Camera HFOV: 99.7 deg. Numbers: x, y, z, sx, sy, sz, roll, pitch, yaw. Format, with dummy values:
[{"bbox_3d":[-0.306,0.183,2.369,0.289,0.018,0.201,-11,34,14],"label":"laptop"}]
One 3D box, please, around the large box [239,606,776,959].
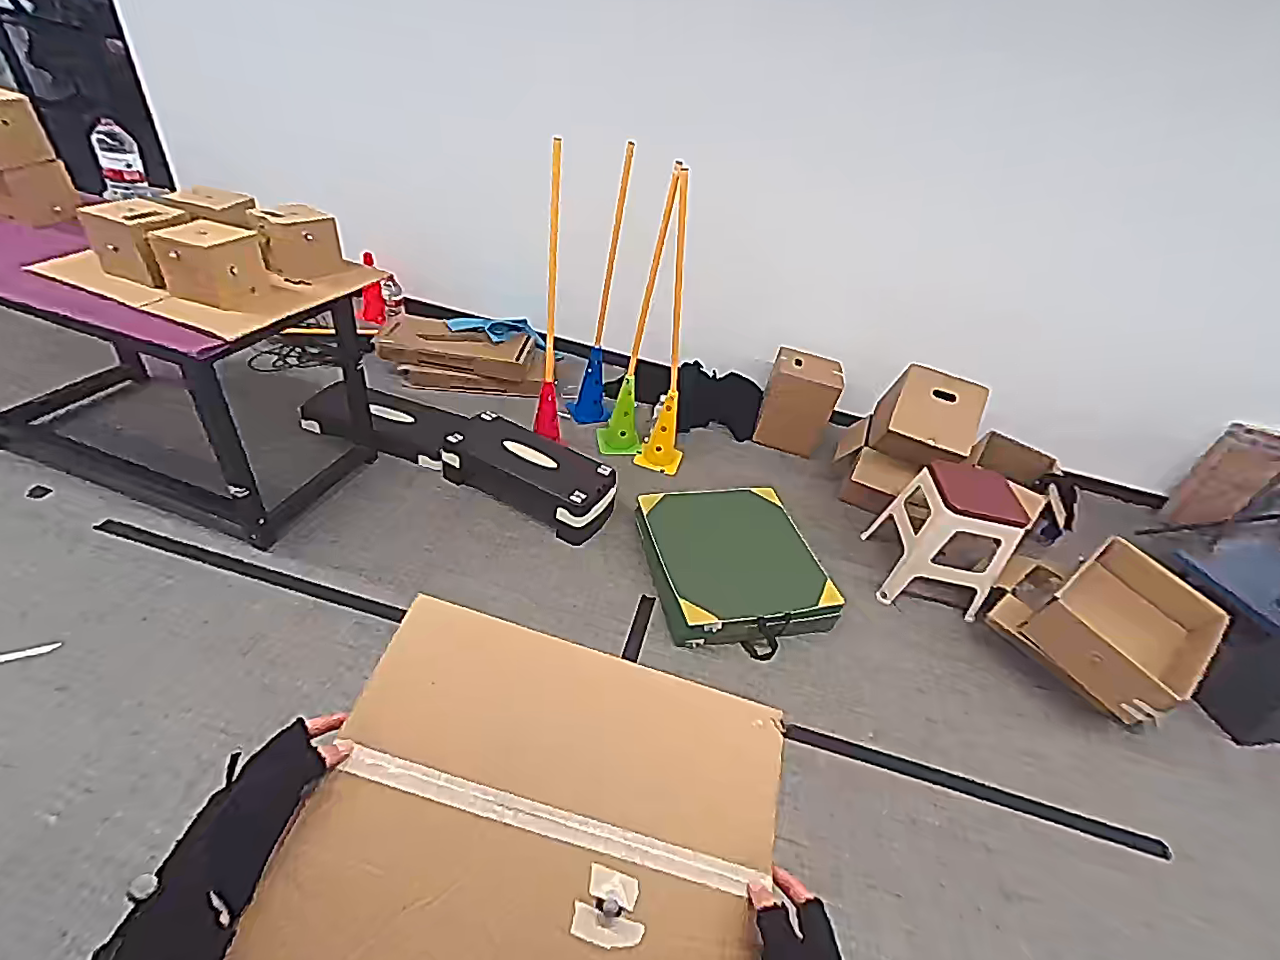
[{"bbox_3d":[-0.107,0.395,0.607,0.408,0.320,0.320,19,52,0],"label":"large box"}]
